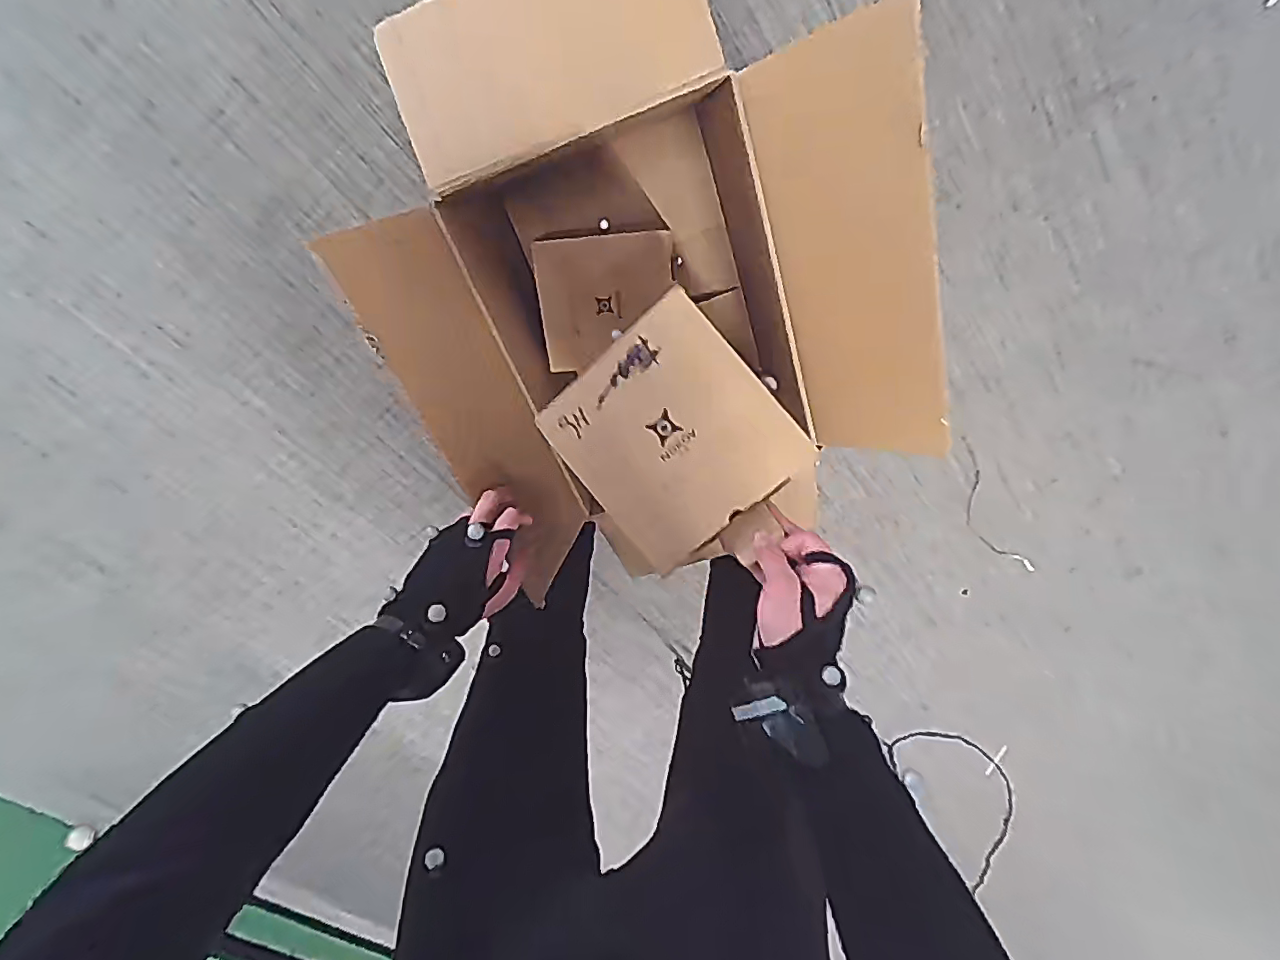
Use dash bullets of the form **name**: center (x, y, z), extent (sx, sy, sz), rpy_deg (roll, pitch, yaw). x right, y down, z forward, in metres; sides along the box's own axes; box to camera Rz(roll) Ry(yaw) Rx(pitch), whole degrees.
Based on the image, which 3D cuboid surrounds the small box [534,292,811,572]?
- **small box**: center (0.039, -0.046, 0.520), extent (0.168, 0.176, 0.179), rpy_deg (-43, 87, 14)
